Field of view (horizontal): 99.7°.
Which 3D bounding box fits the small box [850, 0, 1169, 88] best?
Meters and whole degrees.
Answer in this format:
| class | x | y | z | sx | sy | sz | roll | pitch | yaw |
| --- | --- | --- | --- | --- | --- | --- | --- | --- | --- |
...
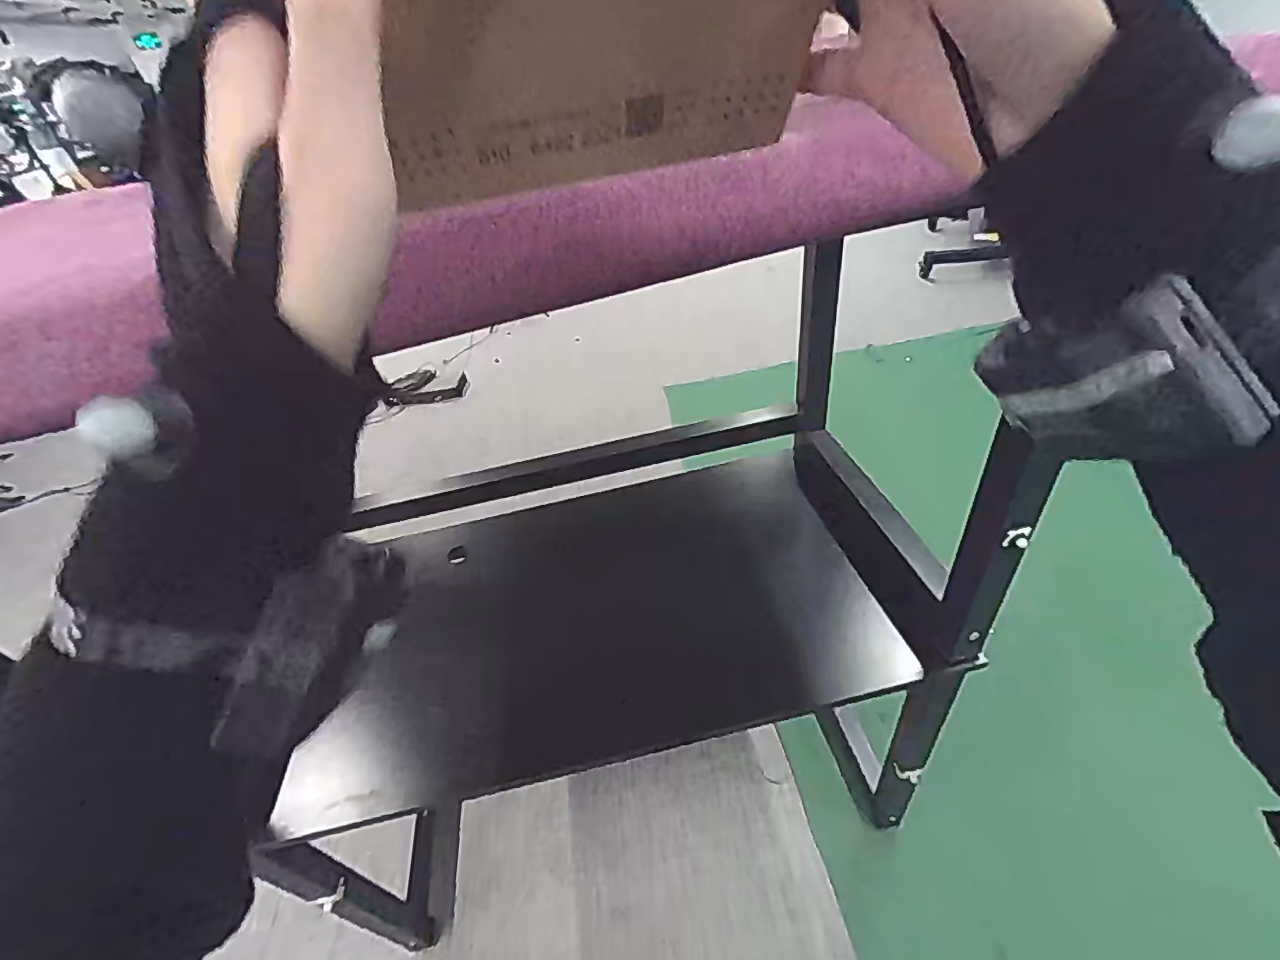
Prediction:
| class | x | y | z | sx | sy | sz | roll | pitch | yaw |
| --- | --- | --- | --- | --- | --- | --- | --- | --- | --- |
| small box | 0.279 | -0.415 | 0.409 | 0.168 | 0.176 | 0.179 | -14 | 37 | -4 |
